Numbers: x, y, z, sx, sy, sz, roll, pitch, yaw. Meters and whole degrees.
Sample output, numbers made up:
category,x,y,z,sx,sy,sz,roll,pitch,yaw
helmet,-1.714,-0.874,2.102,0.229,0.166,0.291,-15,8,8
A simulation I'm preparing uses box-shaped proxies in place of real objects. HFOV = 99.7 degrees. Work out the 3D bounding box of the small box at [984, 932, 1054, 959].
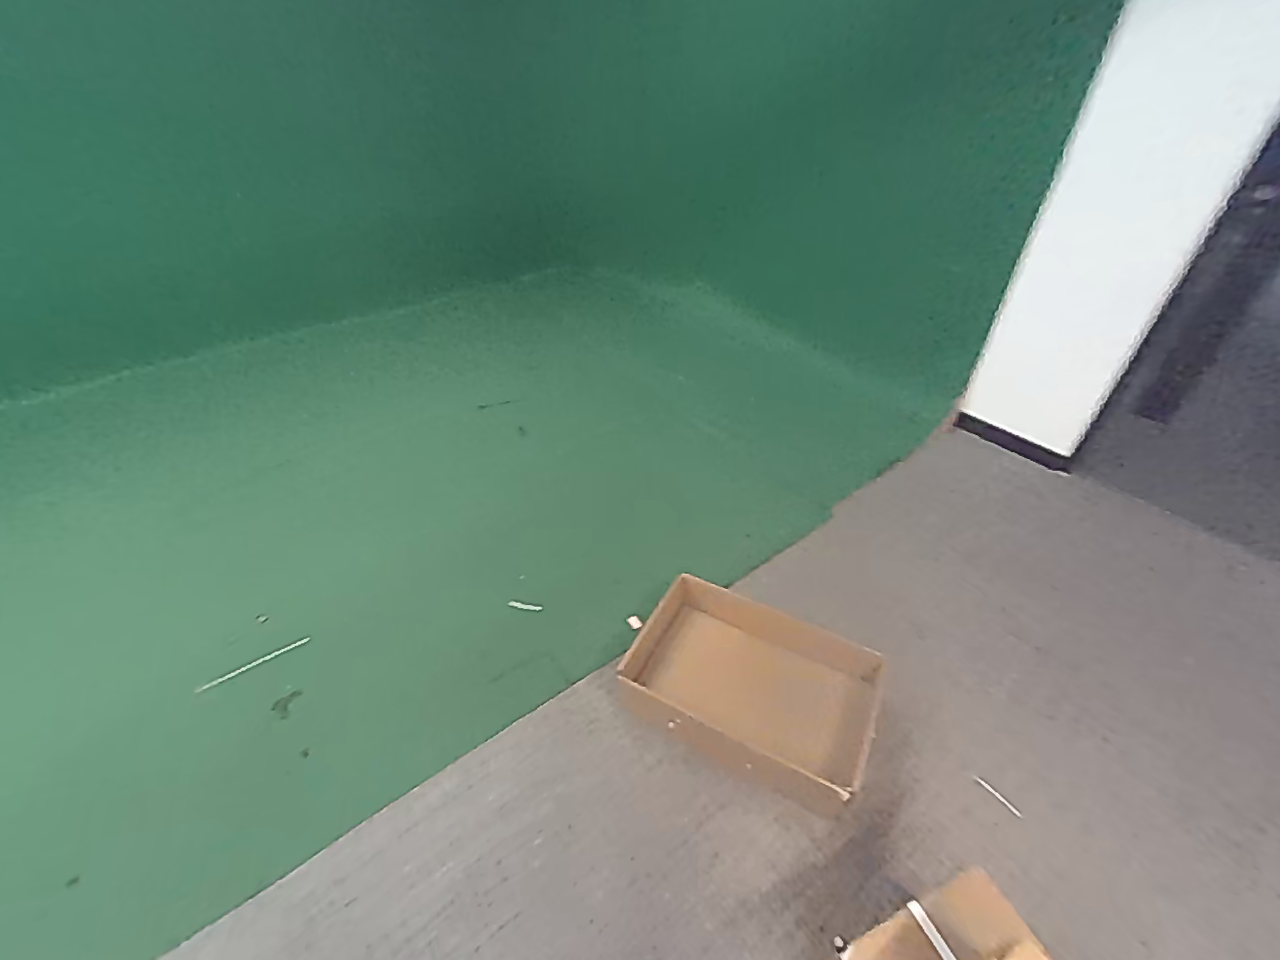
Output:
category,x,y,z,sx,sy,sz,roll,pitch,yaw
small box,0.528,0.781,0.738,0.168,0.176,0.179,-22,43,-20
